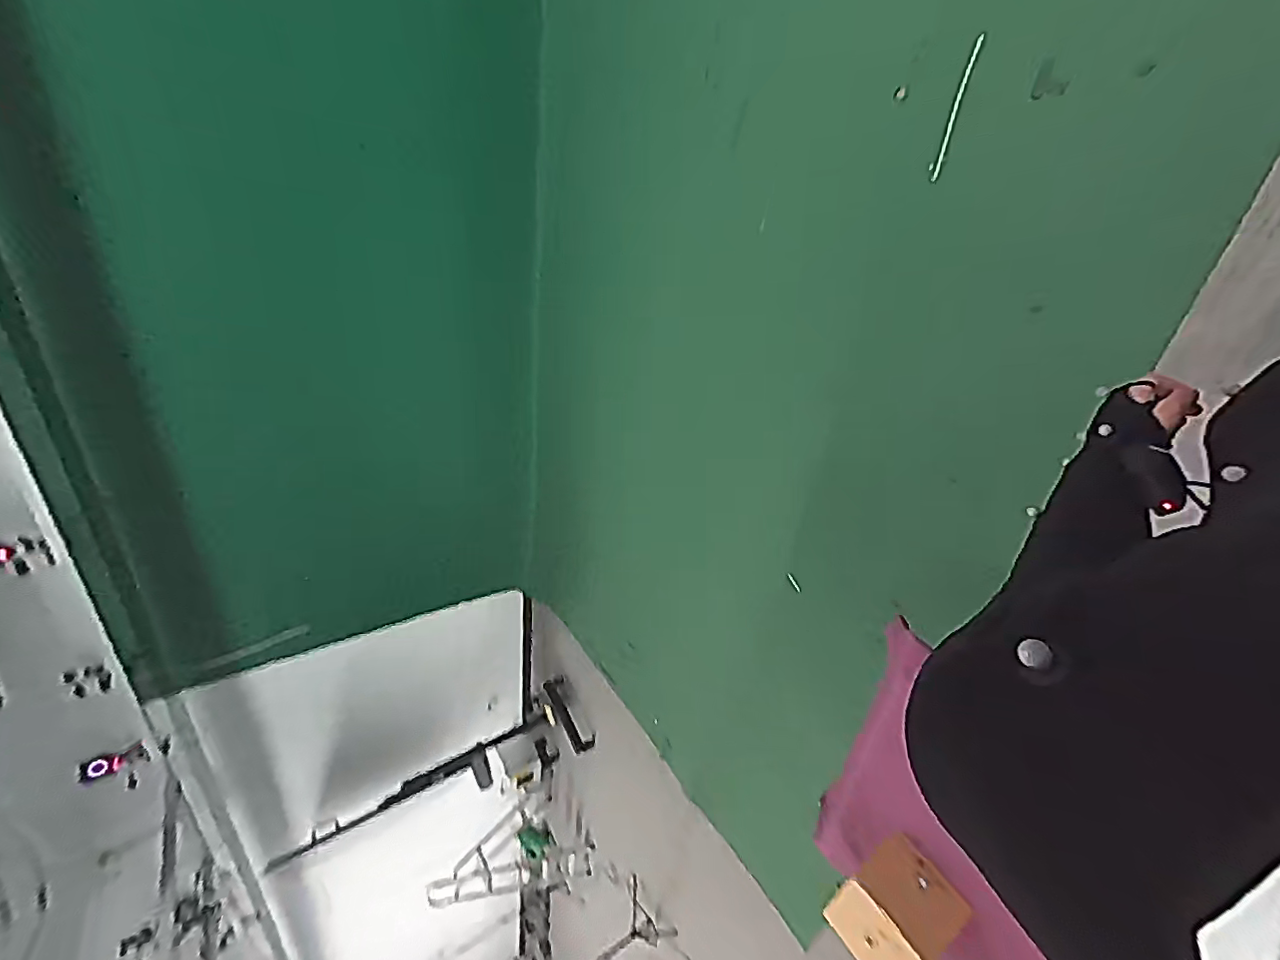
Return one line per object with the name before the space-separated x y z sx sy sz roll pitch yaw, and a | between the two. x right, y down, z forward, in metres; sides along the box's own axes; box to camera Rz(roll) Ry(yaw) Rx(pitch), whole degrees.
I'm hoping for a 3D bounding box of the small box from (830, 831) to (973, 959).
small box | 0.519 0.853 1.074 0.168 0.176 0.179 41 132 39
